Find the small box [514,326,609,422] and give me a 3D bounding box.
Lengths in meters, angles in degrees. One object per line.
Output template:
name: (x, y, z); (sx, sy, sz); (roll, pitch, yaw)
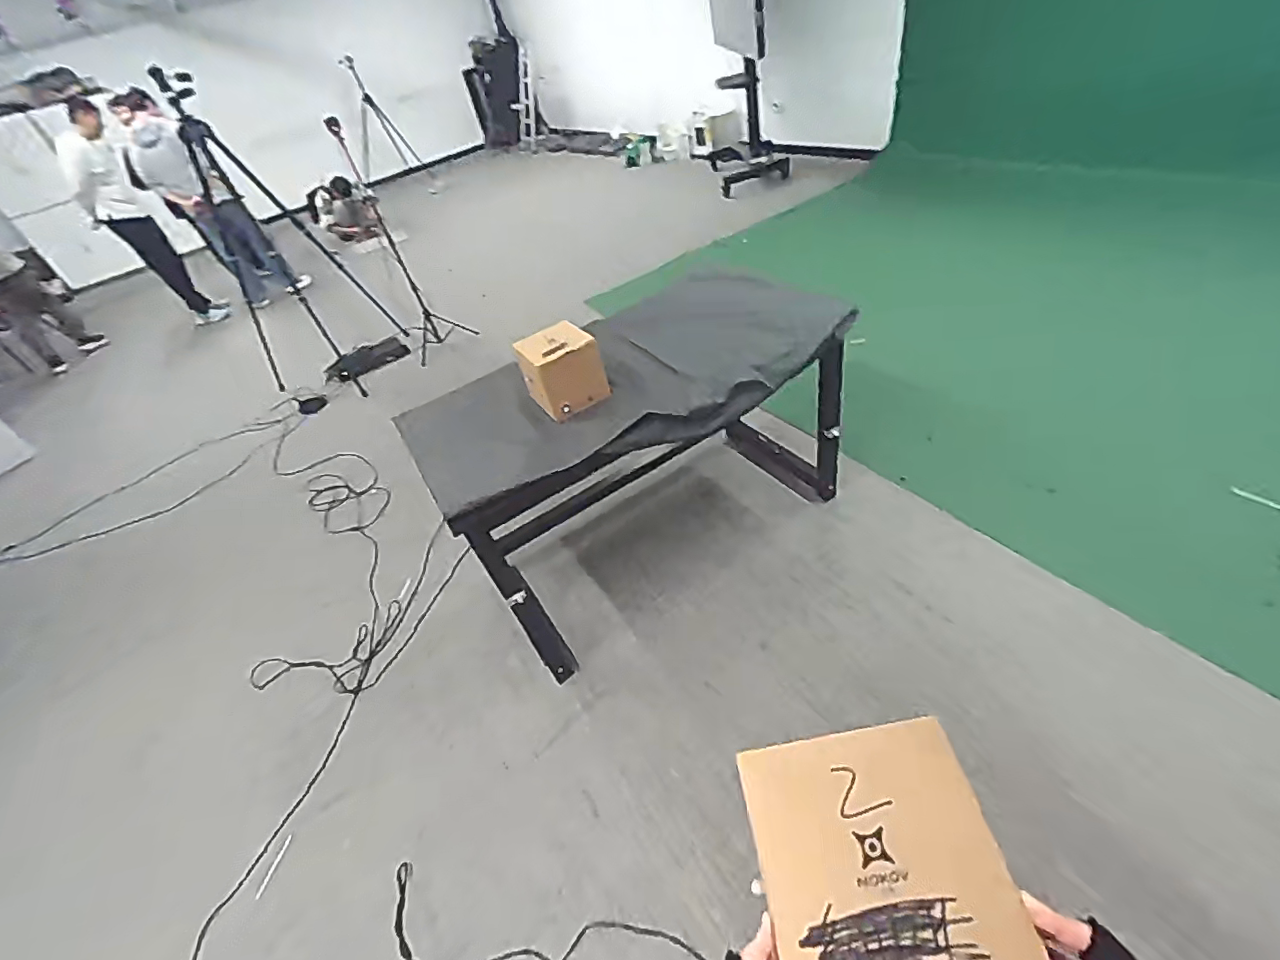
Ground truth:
small box: (-0.201, -0.273, 1.413); (0.168, 0.176, 0.179); (-30, 42, -16)
